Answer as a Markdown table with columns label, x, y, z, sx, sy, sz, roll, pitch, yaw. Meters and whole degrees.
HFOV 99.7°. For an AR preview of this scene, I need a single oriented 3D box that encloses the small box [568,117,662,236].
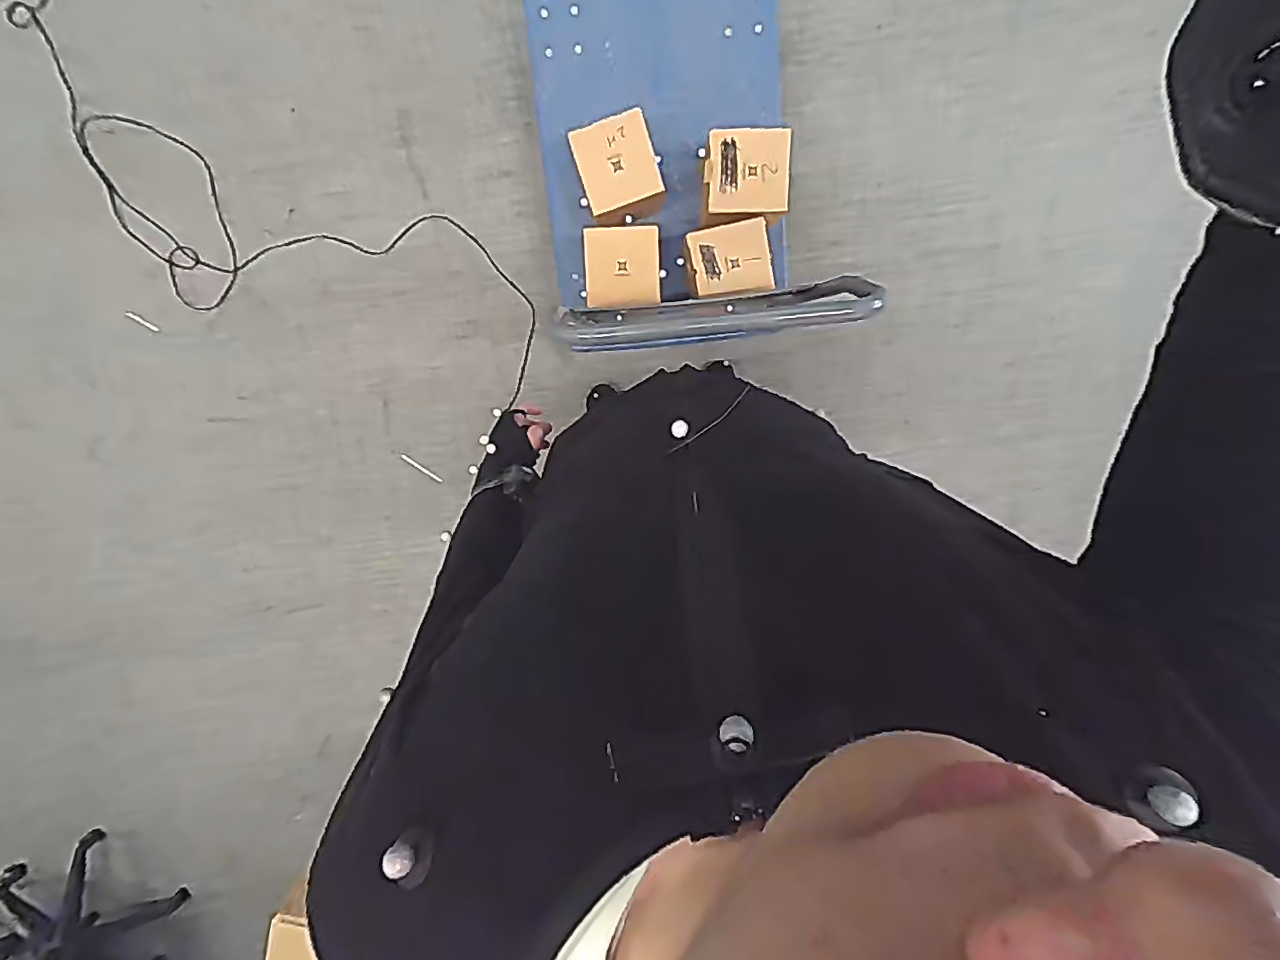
| label | x | y | z | sx | sy | sz | roll | pitch | yaw |
| --- | --- | --- | --- | --- | --- | --- | --- | --- | --- |
| small box | -0.052 | -0.679 | 1.238 | 0.168 | 0.176 | 0.179 | -18 | 100 | 2 |
